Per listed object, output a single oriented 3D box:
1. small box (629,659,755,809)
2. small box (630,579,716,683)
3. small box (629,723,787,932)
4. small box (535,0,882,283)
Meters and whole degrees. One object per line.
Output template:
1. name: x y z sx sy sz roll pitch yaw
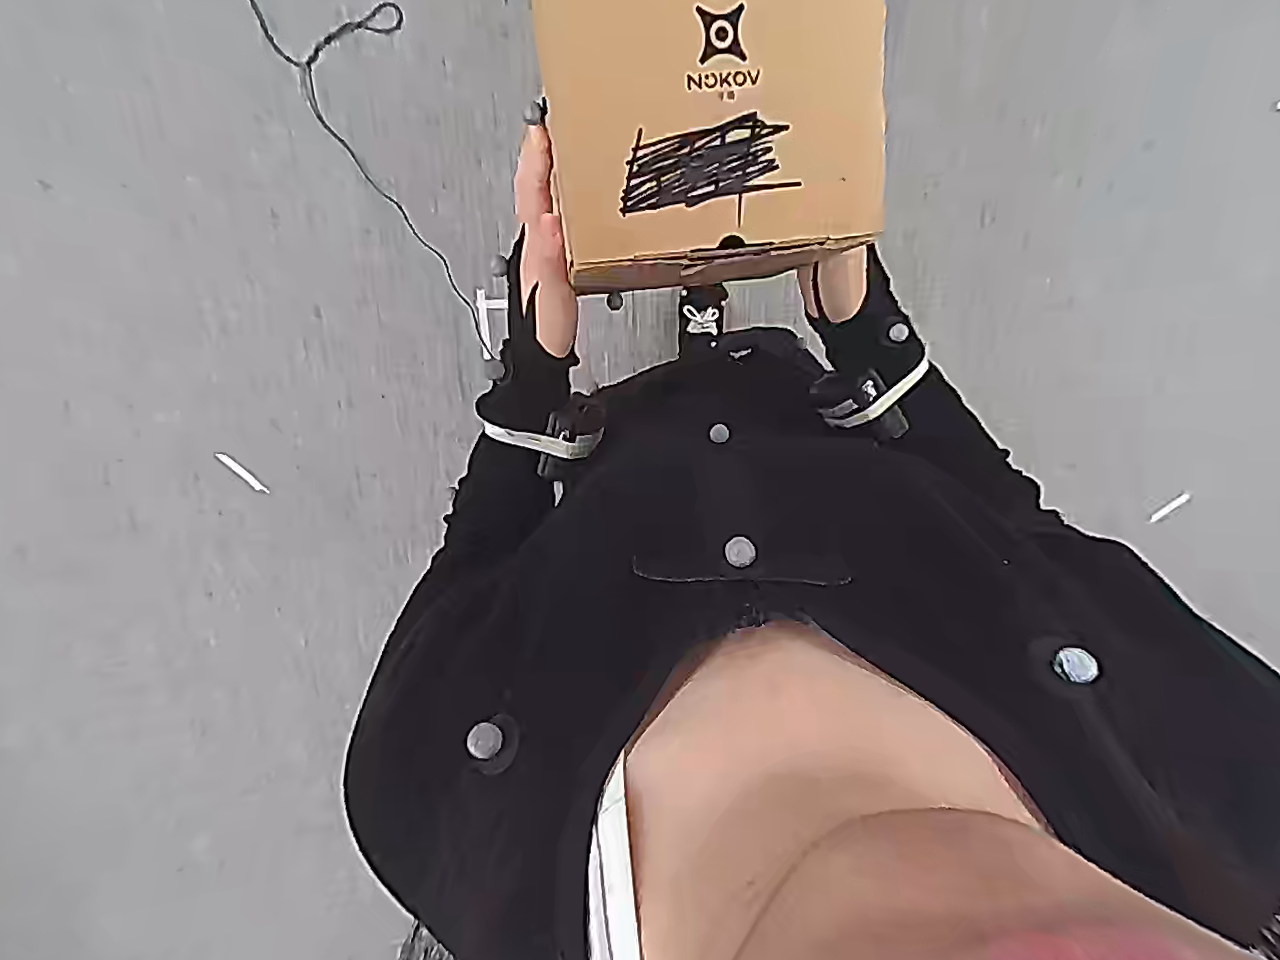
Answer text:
1. small box: 0.075 0.406 0.872 0.179 0.176 0.168 3 104 -2
2. small box: 0.067 0.326 1.191 0.179 0.176 0.168 -1 103 0
3. small box: 0.078 0.445 0.715 0.179 0.176 0.168 3 103 -2
4. small box: 0.027 -0.223 0.334 0.168 0.176 0.179 -8 104 -6
